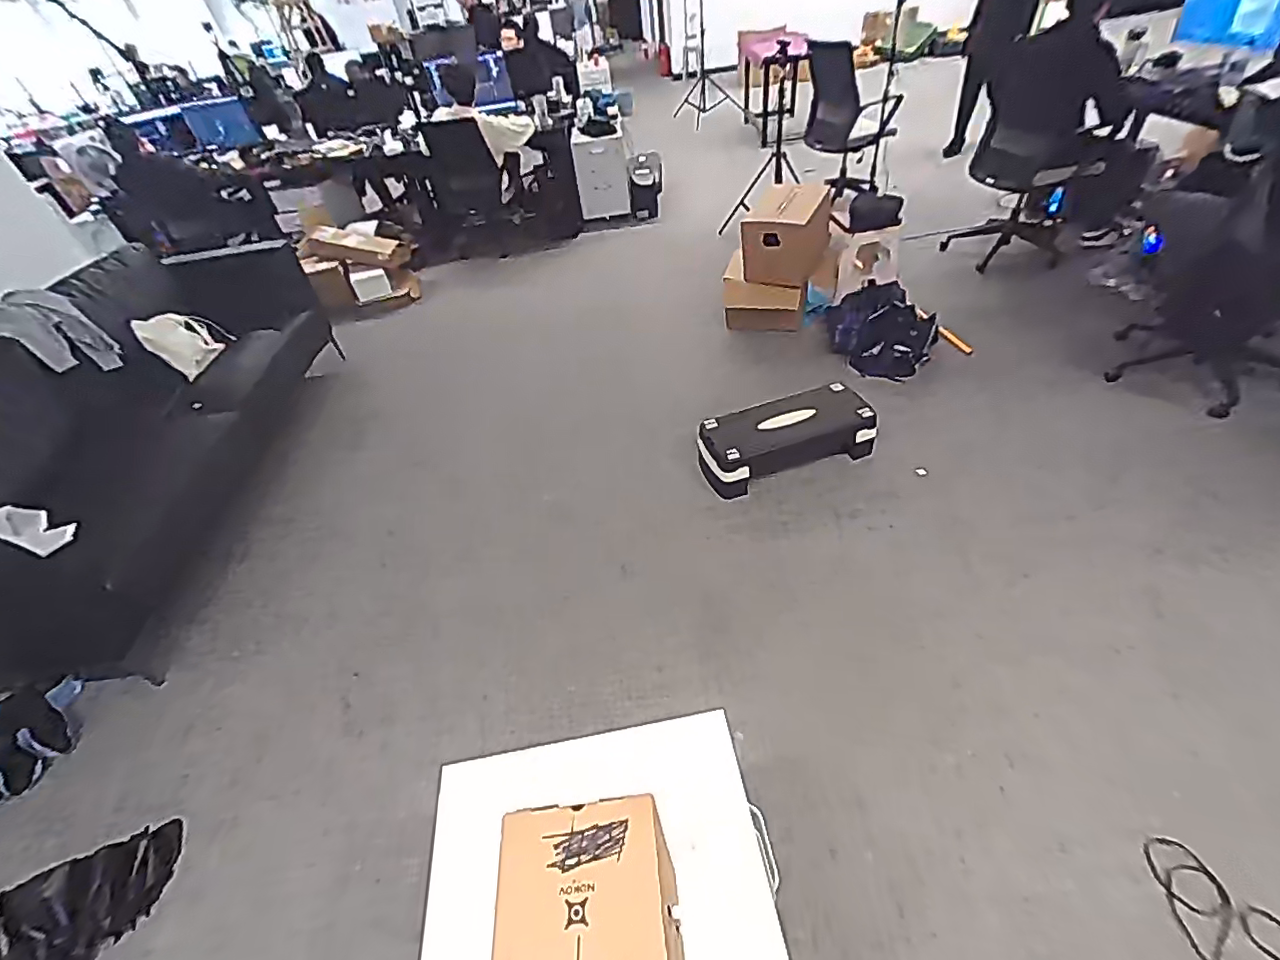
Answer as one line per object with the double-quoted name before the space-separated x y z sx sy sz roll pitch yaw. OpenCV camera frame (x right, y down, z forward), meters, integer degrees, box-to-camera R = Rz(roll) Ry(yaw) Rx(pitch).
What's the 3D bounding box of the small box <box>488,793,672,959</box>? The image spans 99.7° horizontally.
"small box" -0.055 0.467 0.582 0.168 0.176 0.179 -8 43 1
